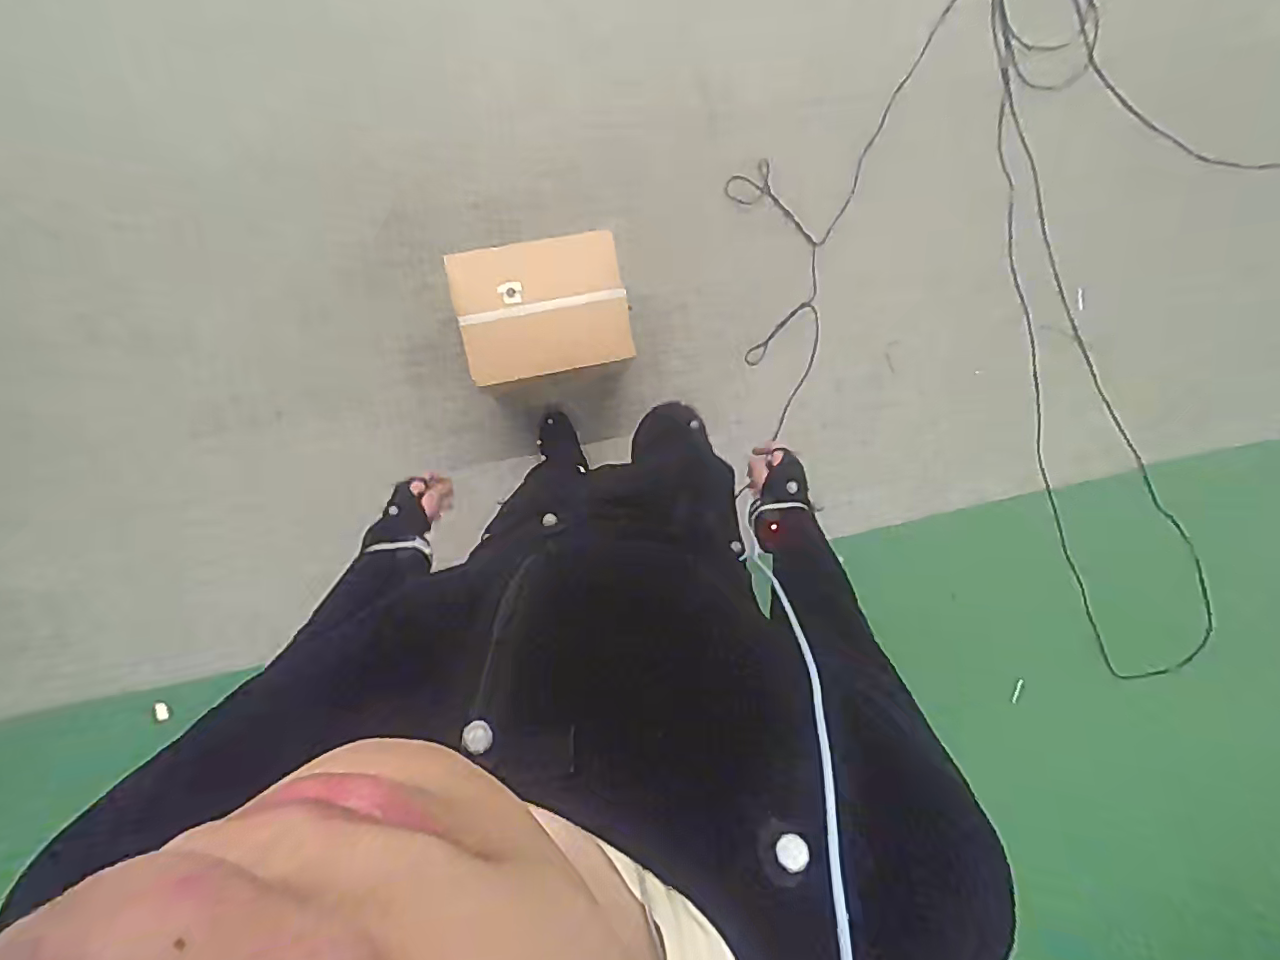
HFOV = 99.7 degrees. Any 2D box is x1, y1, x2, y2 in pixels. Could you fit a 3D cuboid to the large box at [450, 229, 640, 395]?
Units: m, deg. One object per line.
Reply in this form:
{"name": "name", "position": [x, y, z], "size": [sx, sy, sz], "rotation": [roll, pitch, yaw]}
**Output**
{"name": "large box", "position": [-0.239, -0.427, 1.451], "size": [0.408, 0.320, 0.320], "rotation": [-13, 95, -5]}
